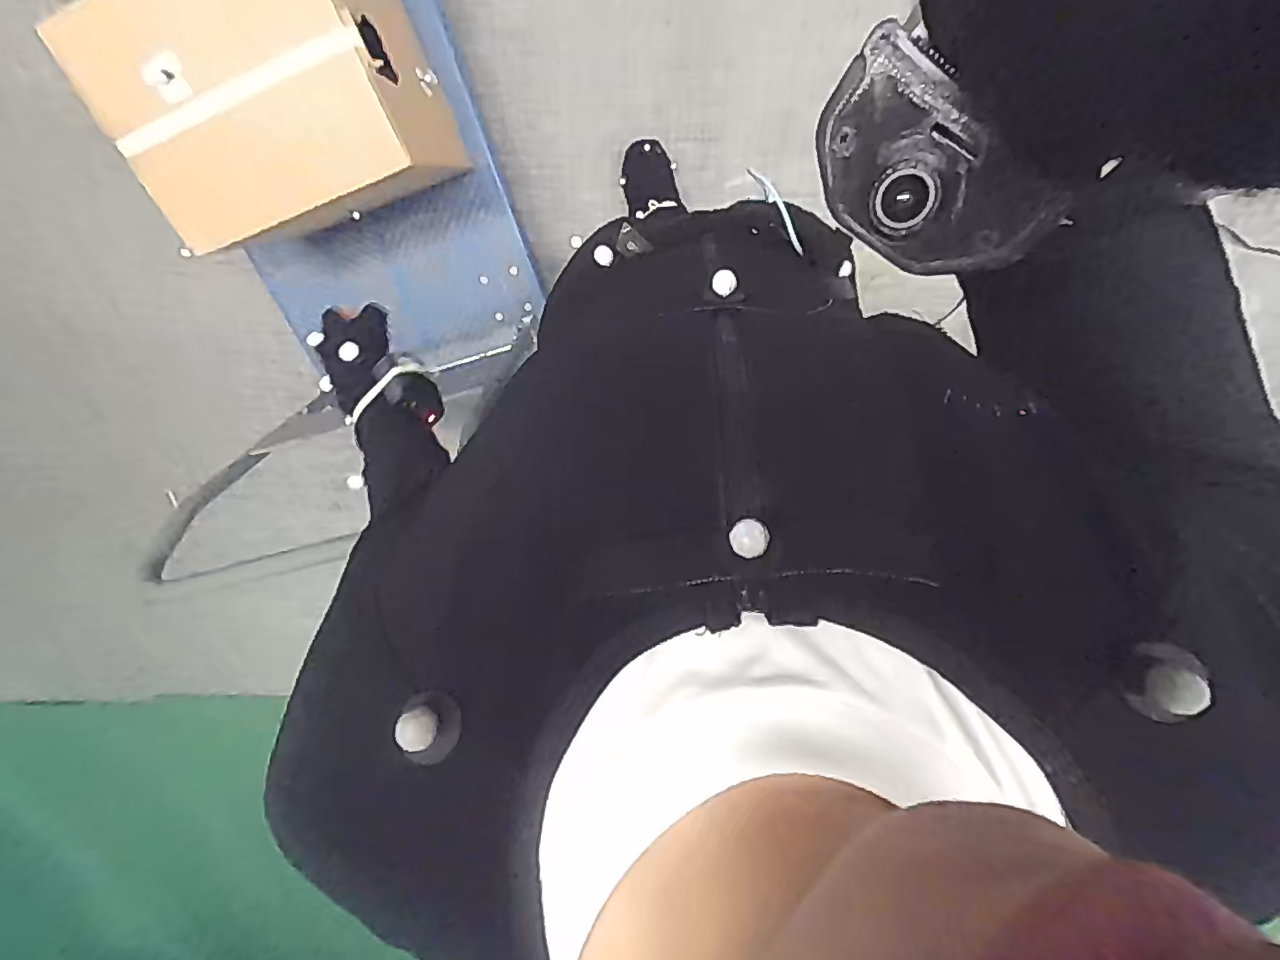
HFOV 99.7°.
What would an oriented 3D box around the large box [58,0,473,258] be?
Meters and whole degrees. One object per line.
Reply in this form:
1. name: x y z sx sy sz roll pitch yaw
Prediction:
1. large box: -0.565 -0.616 0.904 0.408 0.320 0.320 -16 116 11
